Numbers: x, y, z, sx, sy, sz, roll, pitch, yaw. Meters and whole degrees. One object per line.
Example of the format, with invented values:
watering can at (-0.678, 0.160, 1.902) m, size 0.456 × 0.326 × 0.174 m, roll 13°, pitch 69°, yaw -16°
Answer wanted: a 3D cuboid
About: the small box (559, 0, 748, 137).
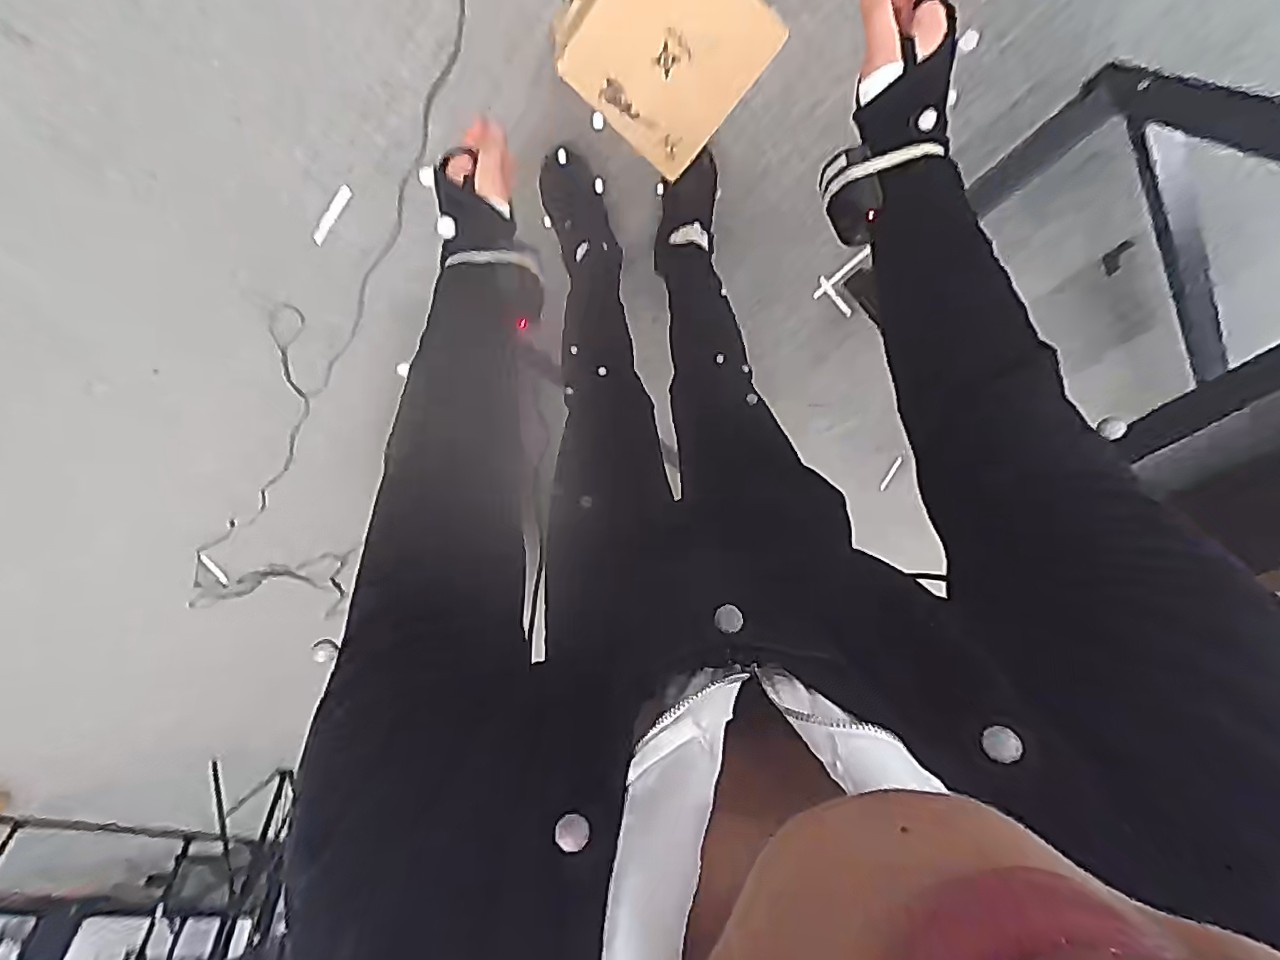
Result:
small box at (0.009, -0.601, 0.710) m, size 0.168 × 0.176 × 0.179 m, roll 25°, pitch 124°, yaw -29°
